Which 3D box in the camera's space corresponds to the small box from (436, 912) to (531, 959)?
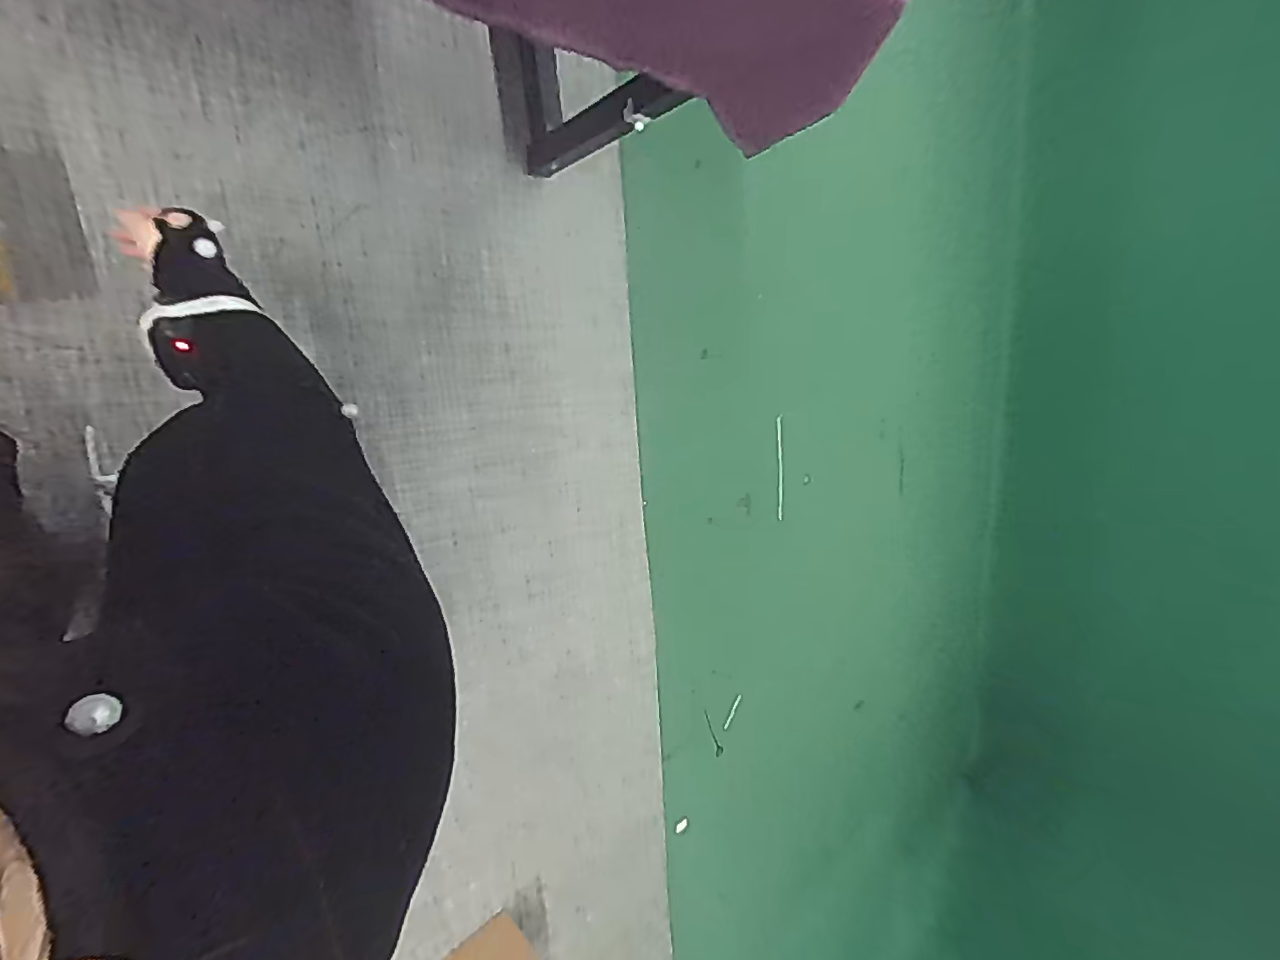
[{"bbox_3d":[-0.339,1.107,1.168,0.179,0.176,0.168,-16,108,-40],"label":"small box"}]
